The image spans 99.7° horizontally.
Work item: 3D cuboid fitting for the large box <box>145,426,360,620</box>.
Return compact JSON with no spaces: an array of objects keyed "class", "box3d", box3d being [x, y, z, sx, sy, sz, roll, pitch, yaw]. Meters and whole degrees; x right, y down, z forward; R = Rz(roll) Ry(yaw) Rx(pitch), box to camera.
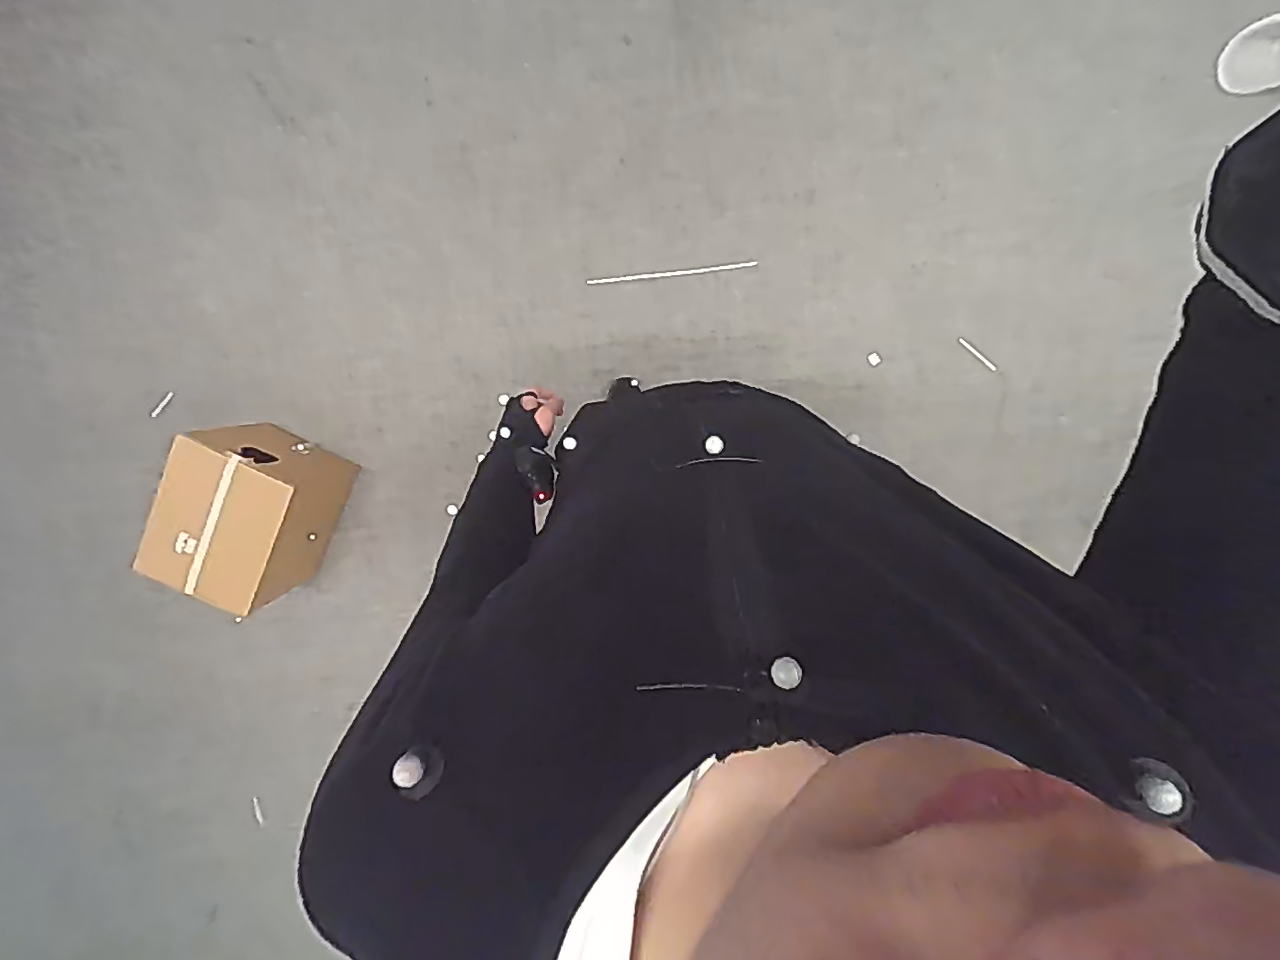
[{"class":"large box","box3d":[-1.064,0.102,1.521,0.320,0.320,0.408,26,101,-3]}]
